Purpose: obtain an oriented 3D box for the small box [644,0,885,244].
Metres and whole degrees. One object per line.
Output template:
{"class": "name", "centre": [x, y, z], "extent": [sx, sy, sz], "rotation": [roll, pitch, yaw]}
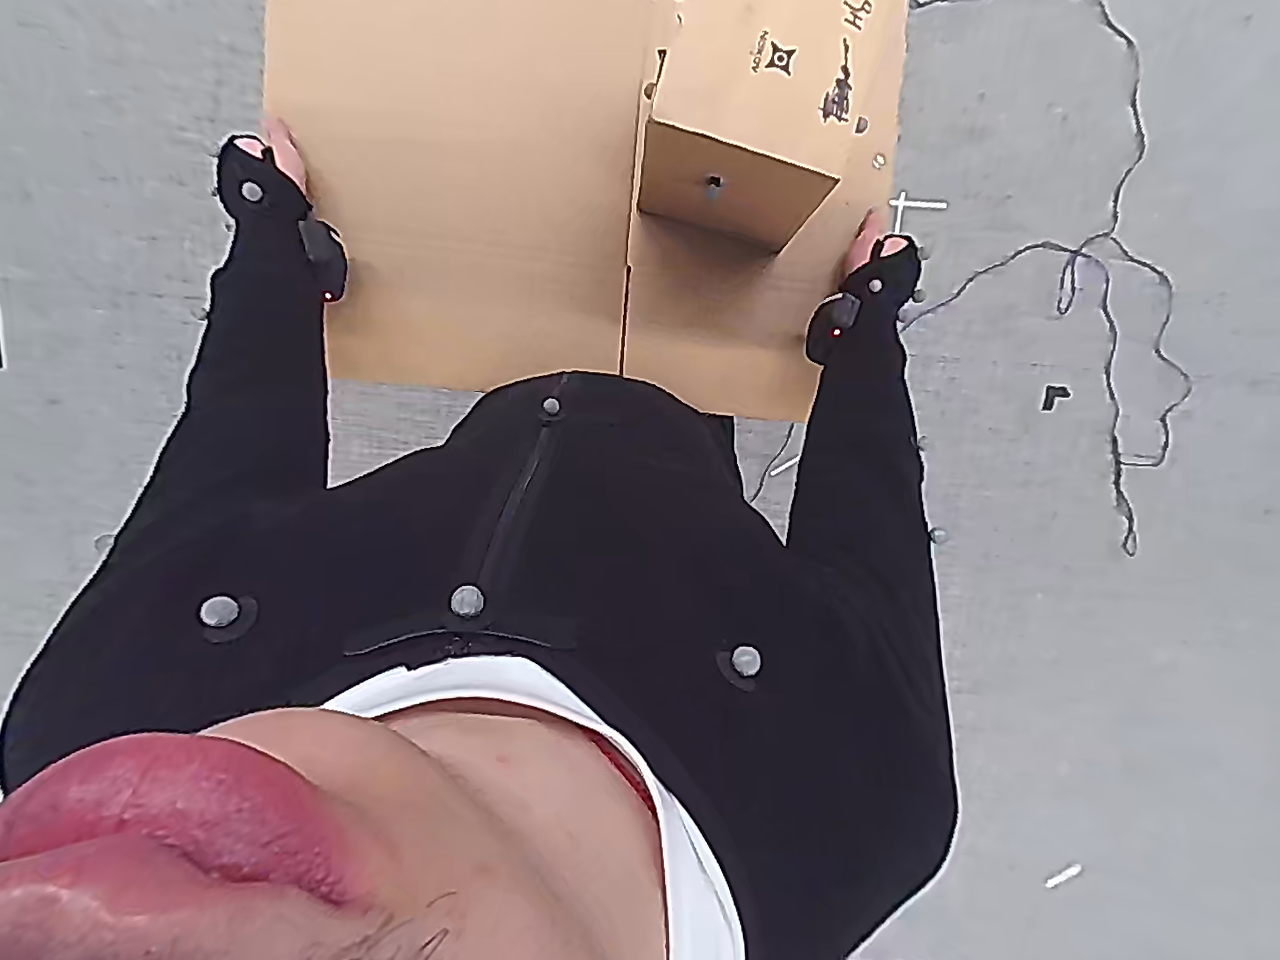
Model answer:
{"class": "small box", "centre": [0.106, -0.365, 0.545], "extent": [0.179, 0.176, 0.168], "rotation": [15, 92, -3]}
